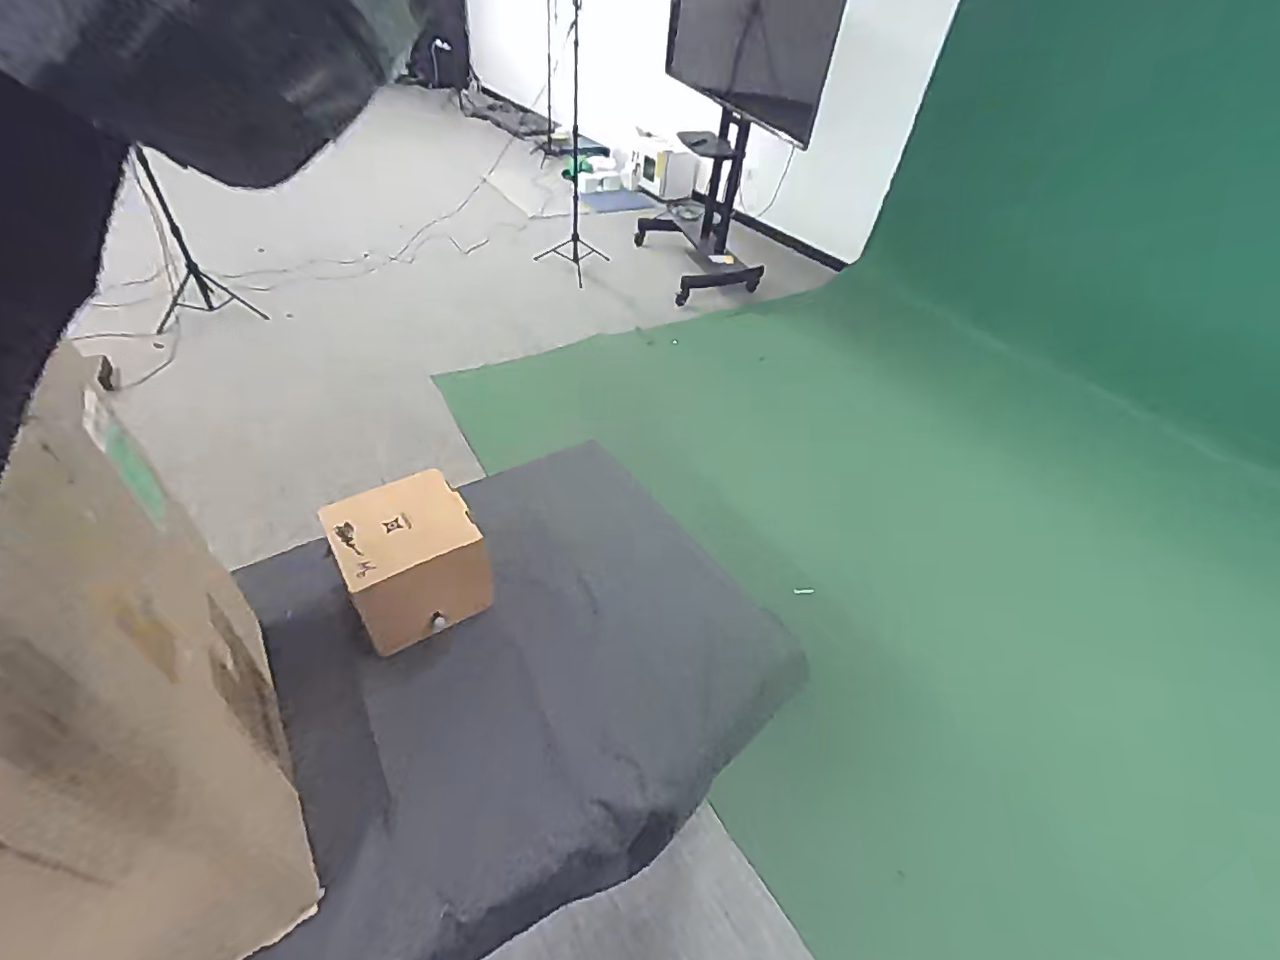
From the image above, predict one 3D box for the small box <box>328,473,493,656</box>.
[{"bbox_3d":[-0.331,0.124,0.808,0.179,0.176,0.168,-23,52,-28],"label":"small box"}]
